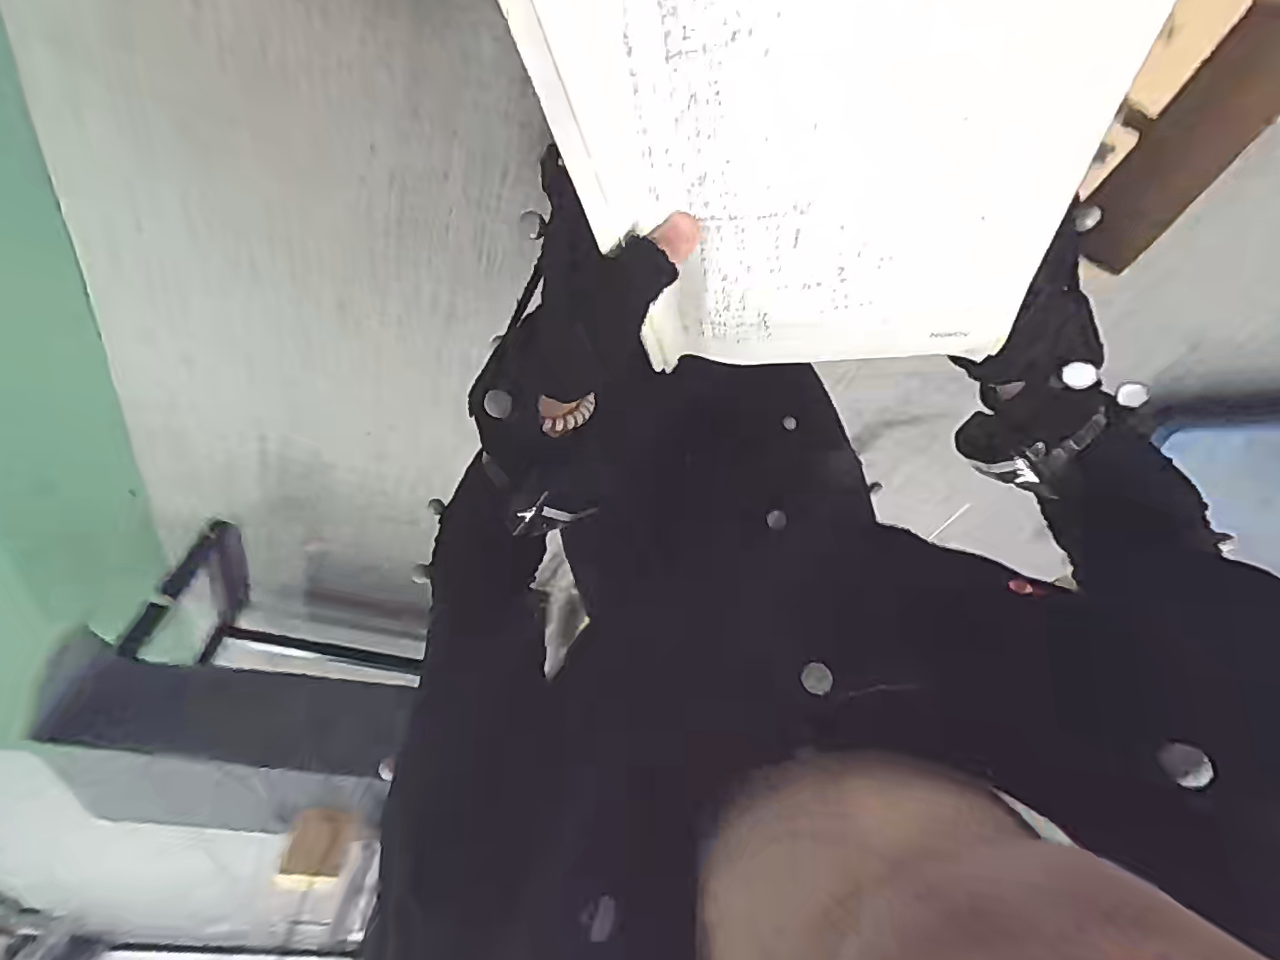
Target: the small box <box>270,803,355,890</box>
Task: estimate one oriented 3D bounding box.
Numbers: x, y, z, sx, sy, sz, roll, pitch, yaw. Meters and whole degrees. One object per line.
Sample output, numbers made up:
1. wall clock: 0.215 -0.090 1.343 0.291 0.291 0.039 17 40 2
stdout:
1. small box: -0.959 1.078 1.589 0.168 0.176 0.179 18 129 -17
